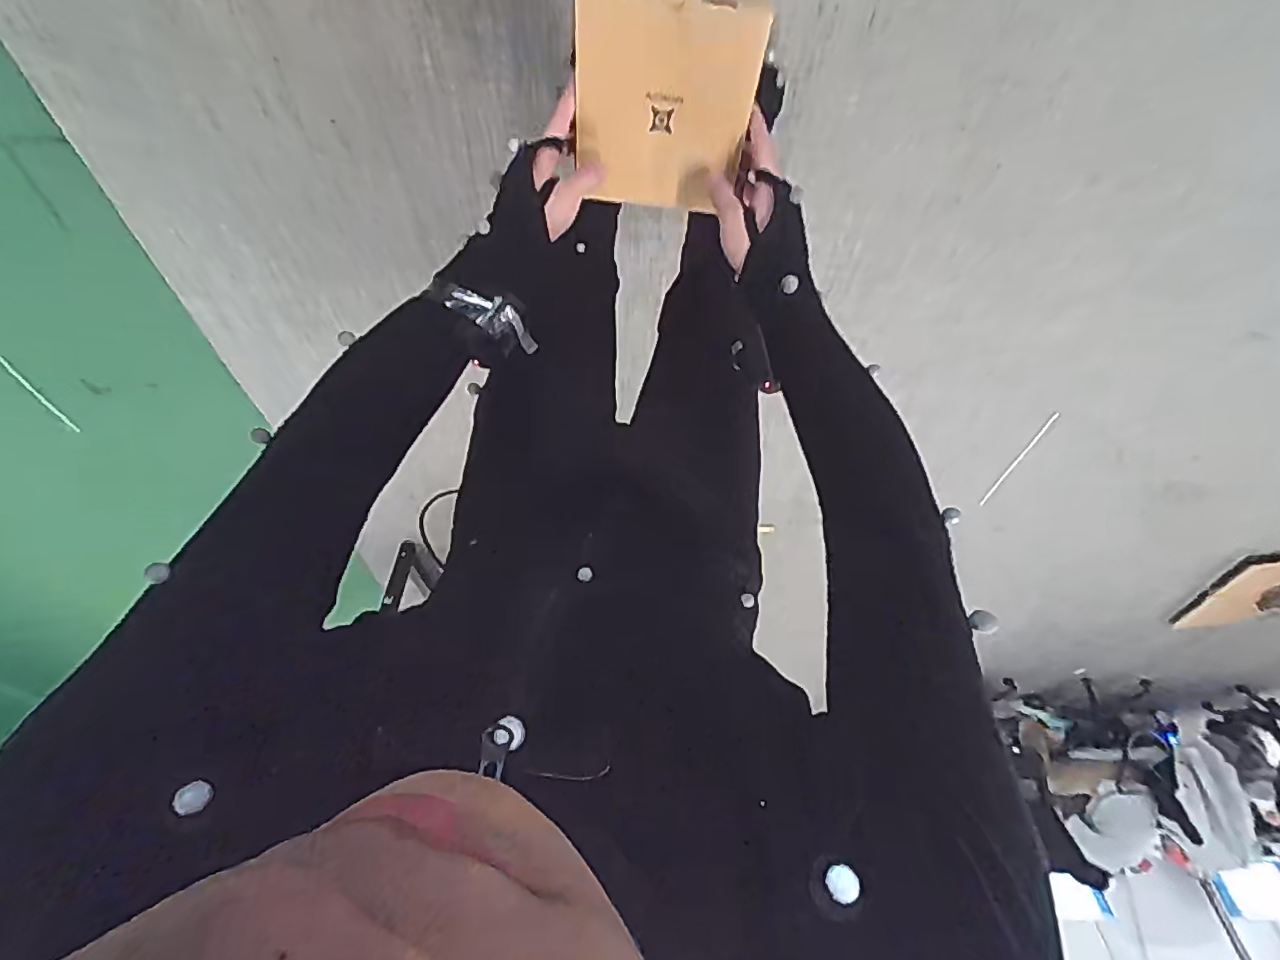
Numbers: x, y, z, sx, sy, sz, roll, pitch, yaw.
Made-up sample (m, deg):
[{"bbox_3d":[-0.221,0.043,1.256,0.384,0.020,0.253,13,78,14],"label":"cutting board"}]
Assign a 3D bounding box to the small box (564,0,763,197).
[{"bbox_3d":[0.020,-0.421,0.543,0.168,0.176,0.179,6,145,-1],"label":"small box"}]
